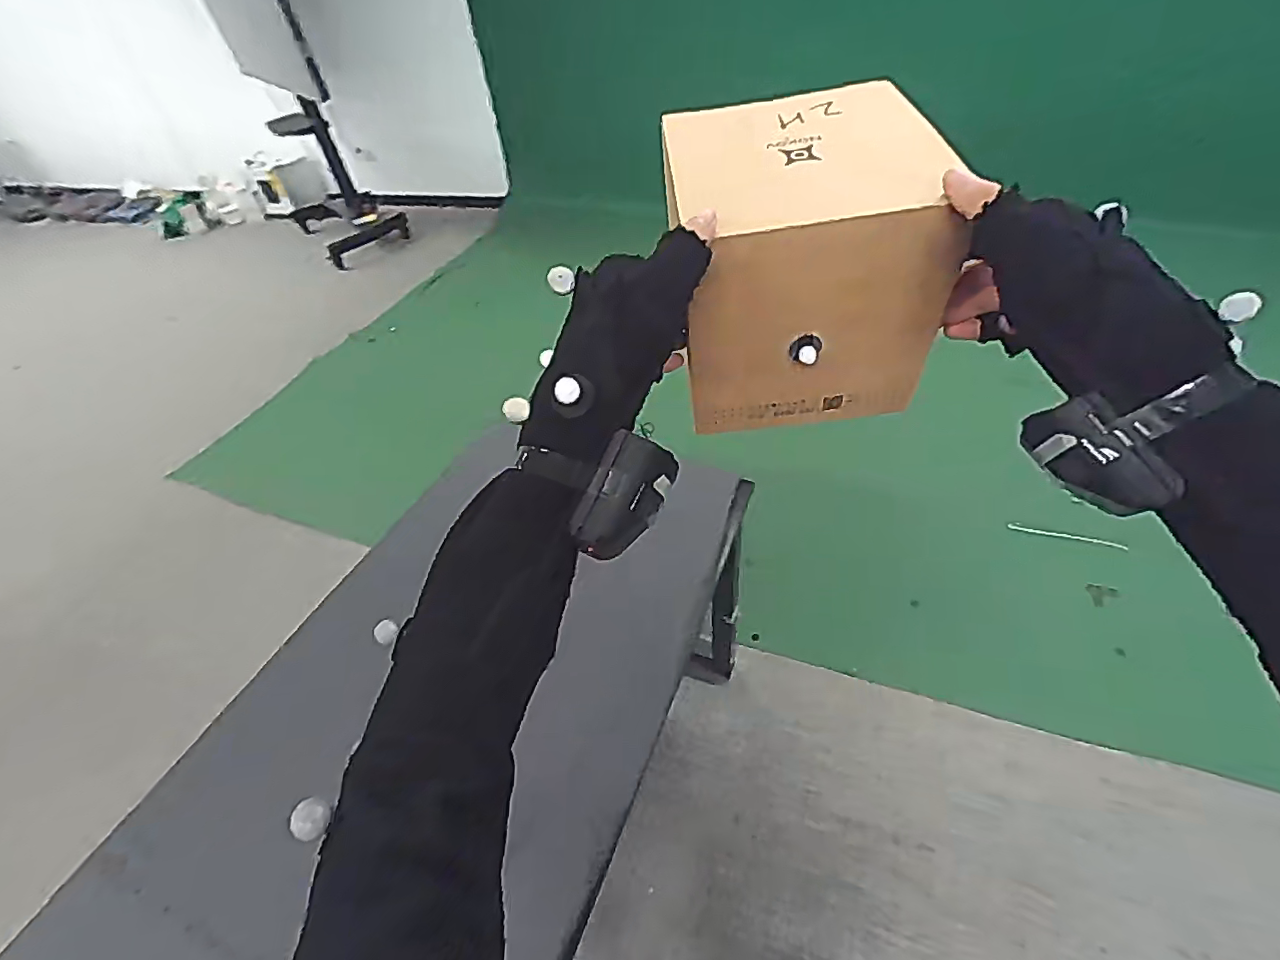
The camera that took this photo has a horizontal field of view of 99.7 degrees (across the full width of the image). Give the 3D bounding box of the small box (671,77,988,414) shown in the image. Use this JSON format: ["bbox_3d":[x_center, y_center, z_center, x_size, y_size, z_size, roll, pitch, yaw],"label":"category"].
[{"bbox_3d":[0.117,-0.164,0.410,0.168,0.176,0.179,-6,53,5],"label":"small box"}]
